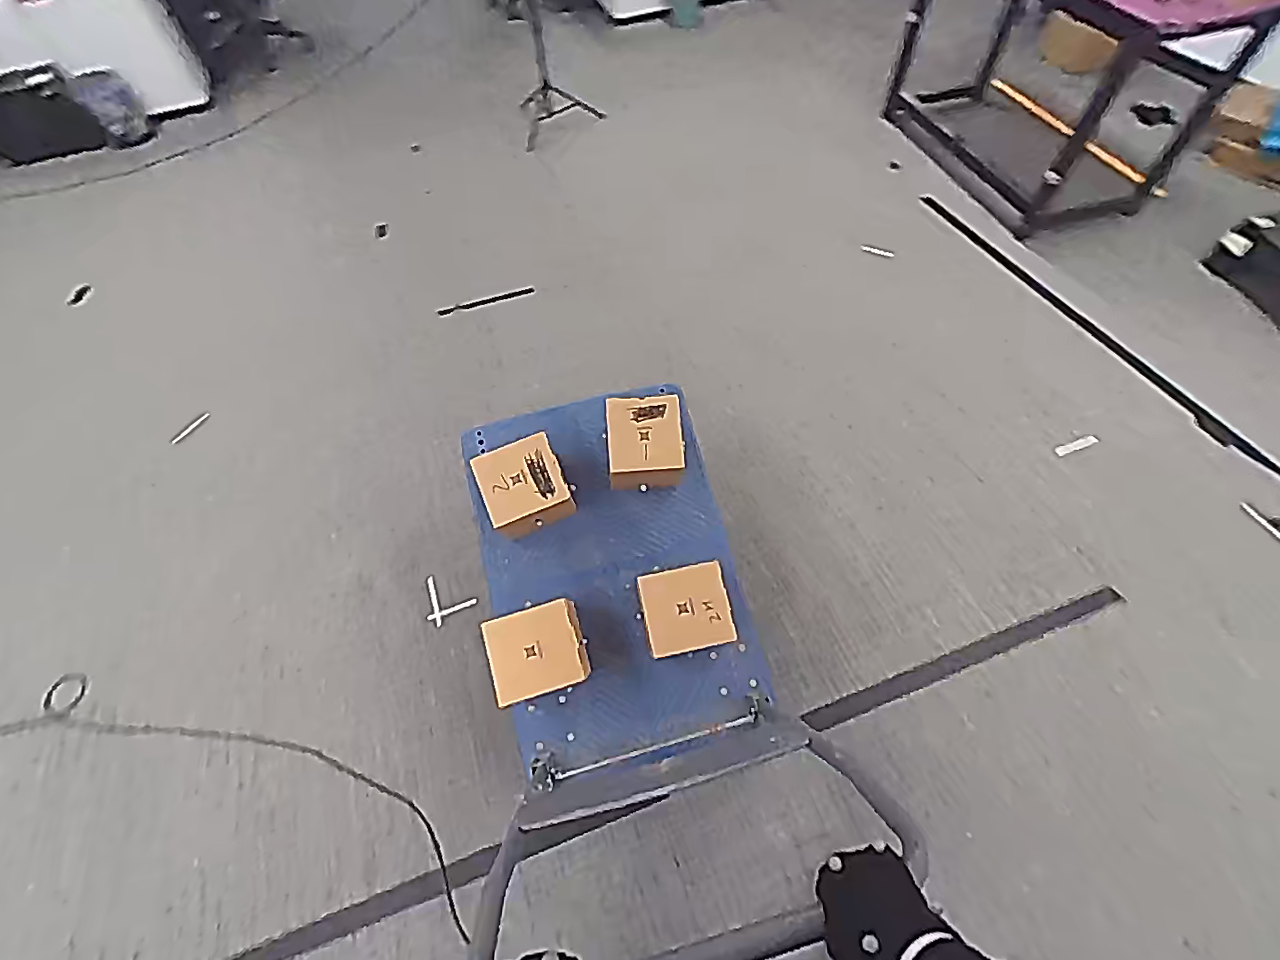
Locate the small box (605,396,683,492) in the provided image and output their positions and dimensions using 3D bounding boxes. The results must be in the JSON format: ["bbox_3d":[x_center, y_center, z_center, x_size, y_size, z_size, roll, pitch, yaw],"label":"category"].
[{"bbox_3d":[0.003,-0.080,1.267,0.168,0.176,0.179,-4,76,-3],"label":"small box"}]

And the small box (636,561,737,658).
[{"bbox_3d":[0.092,0.282,1.168,0.179,0.176,0.168,-12,75,-5],"label":"small box"}]

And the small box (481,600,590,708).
[{"bbox_3d":[-0.212,0.363,1.137,0.179,0.176,0.168,-17,75,-8],"label":"small box"}]
